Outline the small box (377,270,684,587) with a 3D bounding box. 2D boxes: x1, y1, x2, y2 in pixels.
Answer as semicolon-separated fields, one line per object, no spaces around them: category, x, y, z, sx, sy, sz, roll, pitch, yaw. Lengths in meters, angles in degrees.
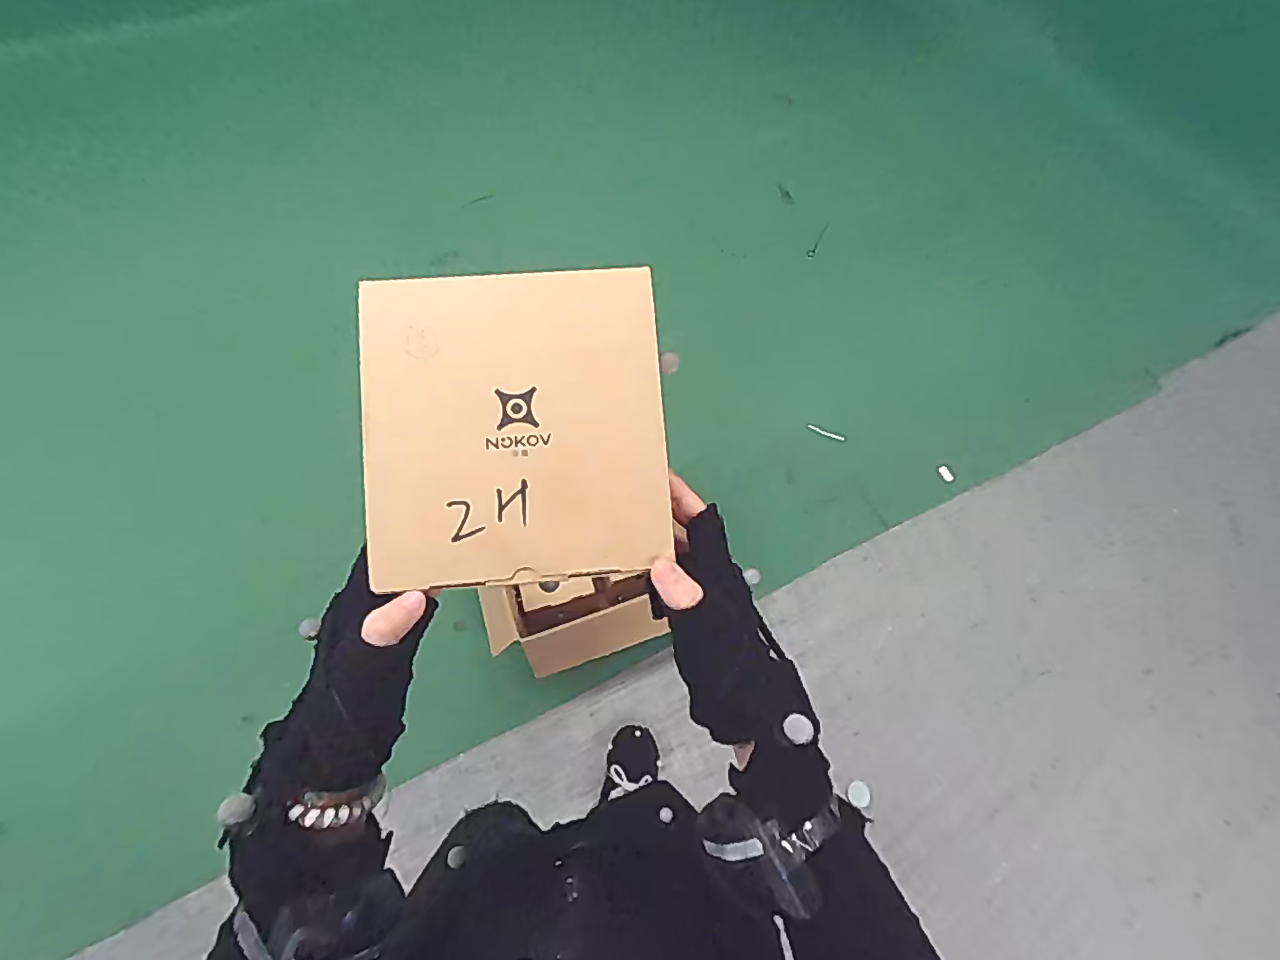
small box;-0.067;-0.024;0.379;0.168;0.176;0.179;-4;85;-4
